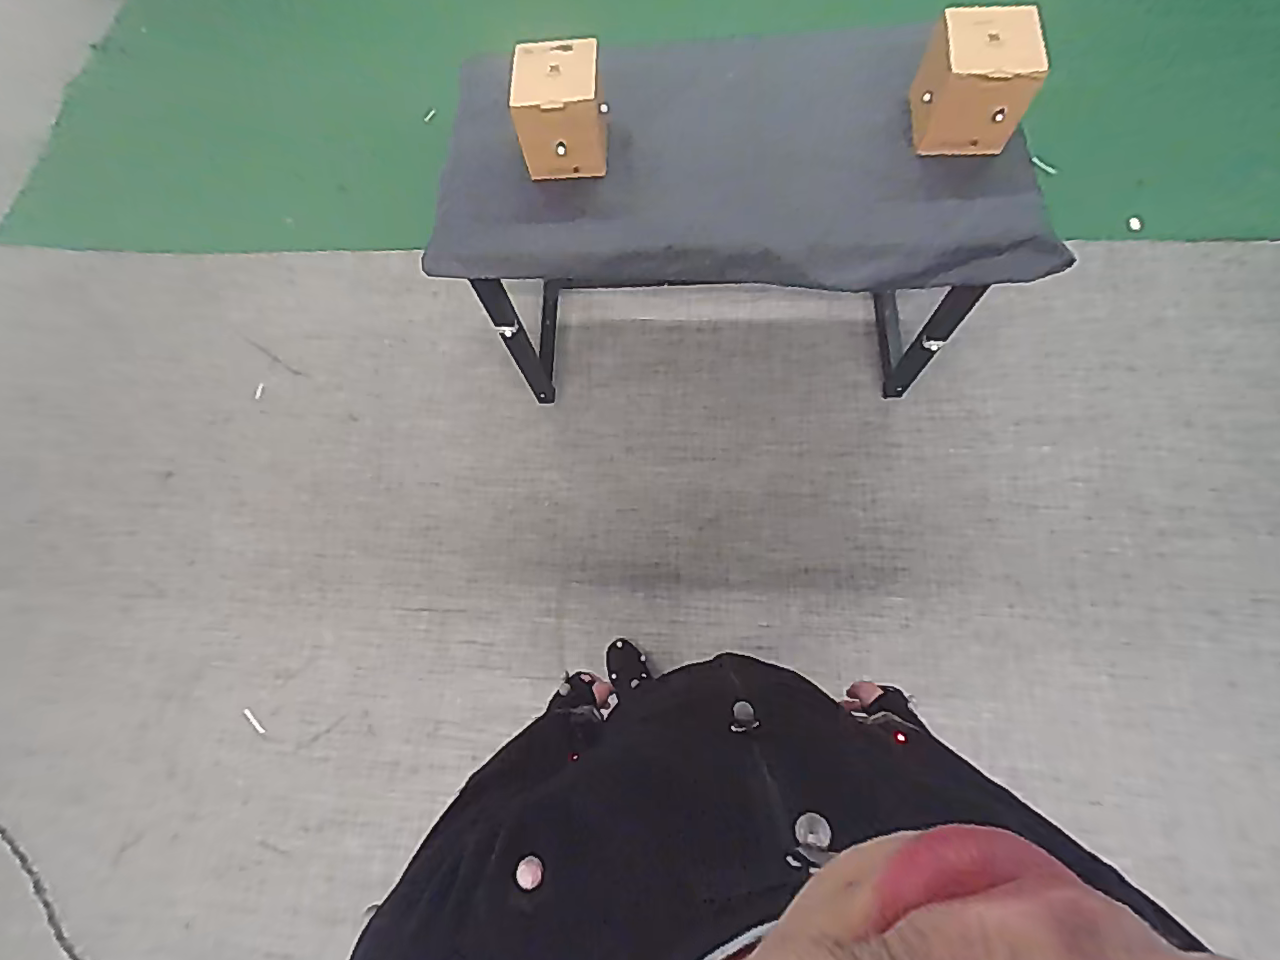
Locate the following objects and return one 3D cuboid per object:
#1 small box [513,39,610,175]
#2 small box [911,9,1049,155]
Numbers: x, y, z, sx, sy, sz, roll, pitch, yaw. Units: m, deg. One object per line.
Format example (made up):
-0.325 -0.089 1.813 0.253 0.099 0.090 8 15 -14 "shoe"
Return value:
-0.154 -0.761 1.121 0.168 0.176 0.179 -1 72 4 "small box"
0.652 -0.769 1.058 0.168 0.176 0.179 4 71 5 "small box"
